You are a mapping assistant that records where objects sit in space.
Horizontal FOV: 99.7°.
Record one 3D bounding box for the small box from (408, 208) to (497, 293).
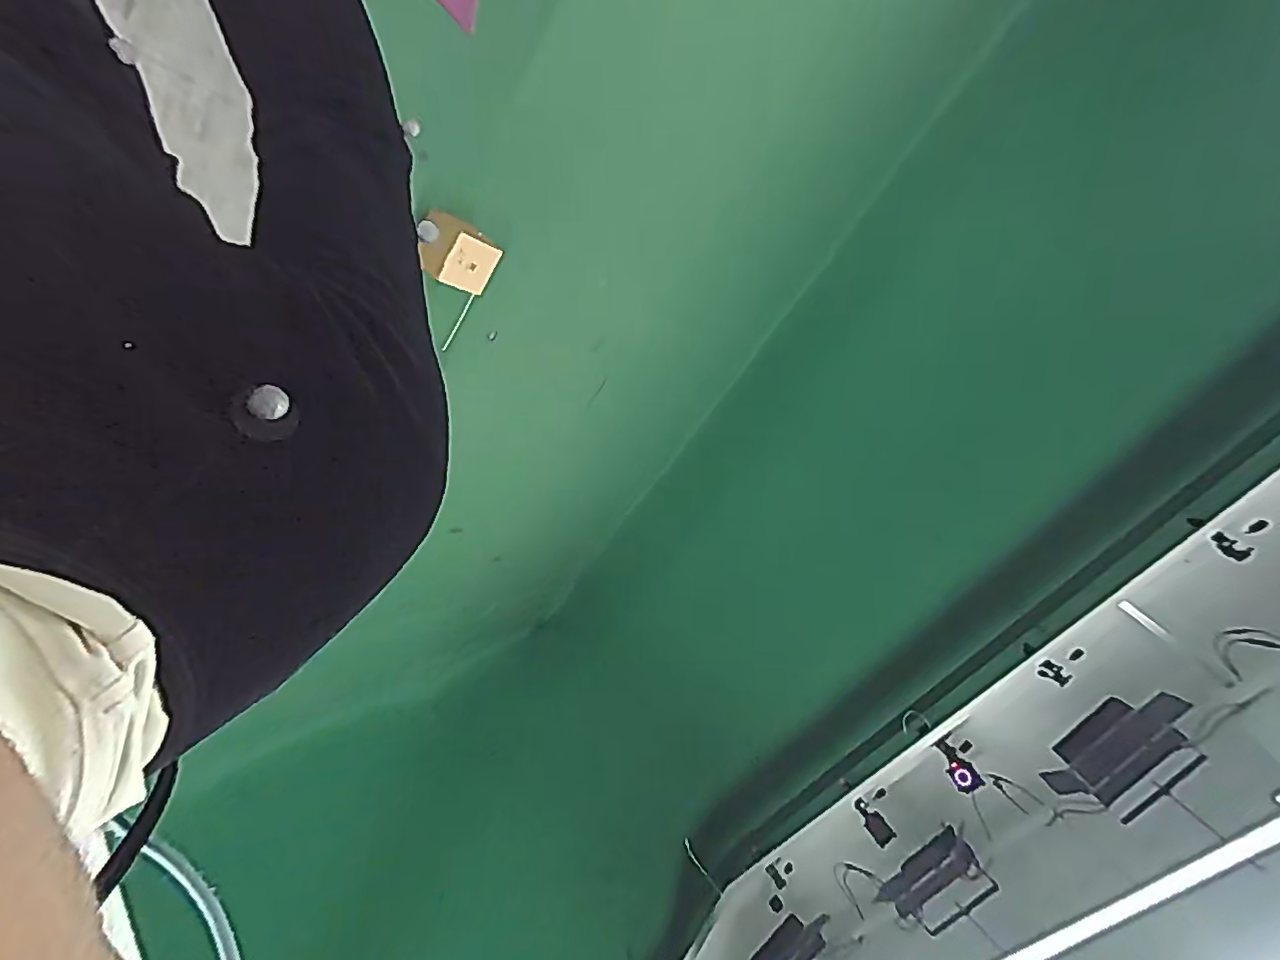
[{"bbox_3d":[-0.597,-0.730,1.720,0.168,0.176,0.179,-53,157,20],"label":"small box"}]
